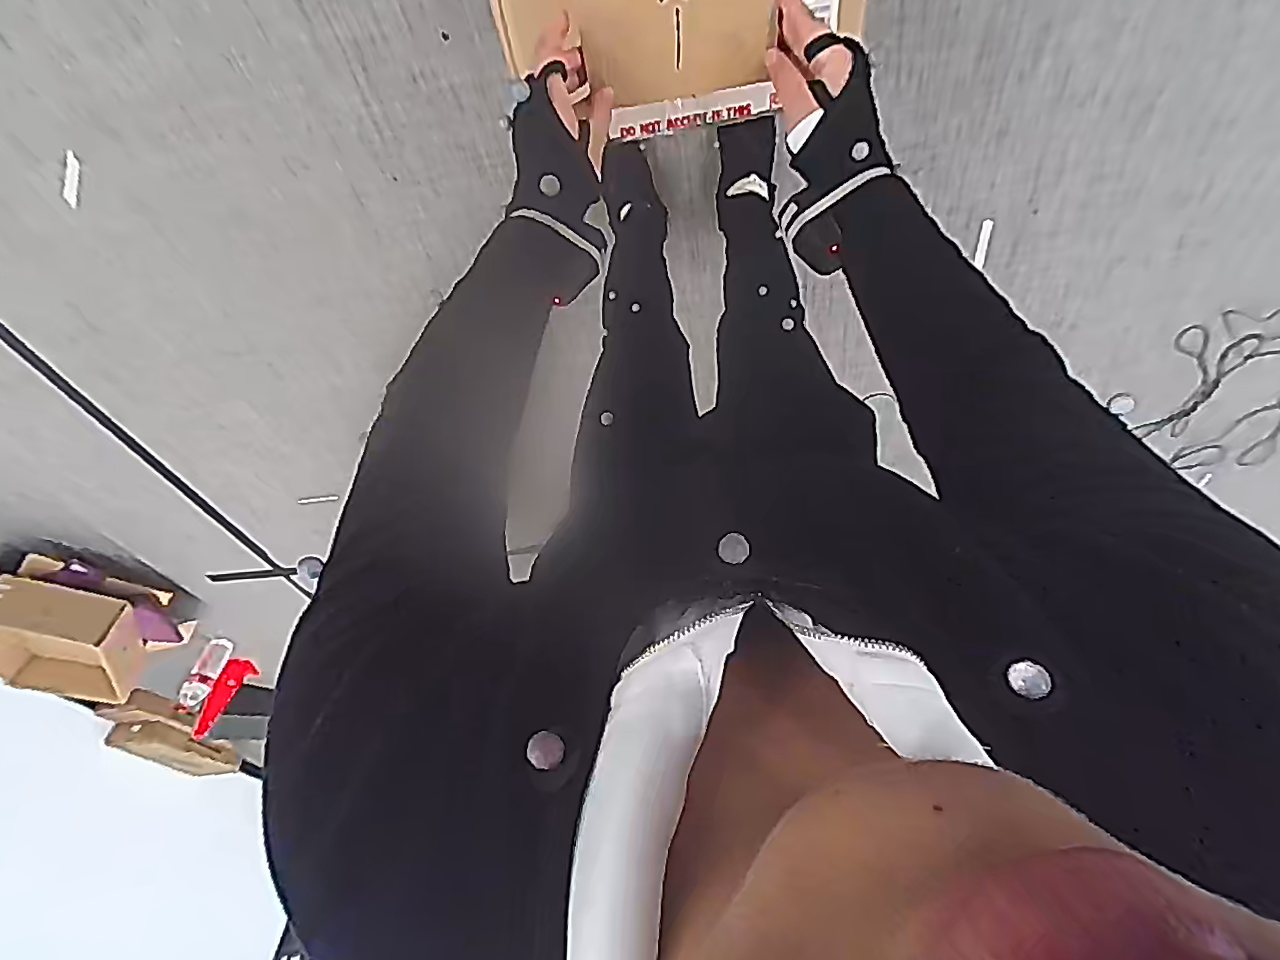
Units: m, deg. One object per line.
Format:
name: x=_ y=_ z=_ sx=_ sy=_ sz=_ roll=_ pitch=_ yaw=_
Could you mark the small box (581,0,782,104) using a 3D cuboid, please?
small box: x=0.030 y=-0.465 z=0.472 sx=0.168 sy=0.176 sz=0.179 roll=-5 pitch=139 yaw=7
